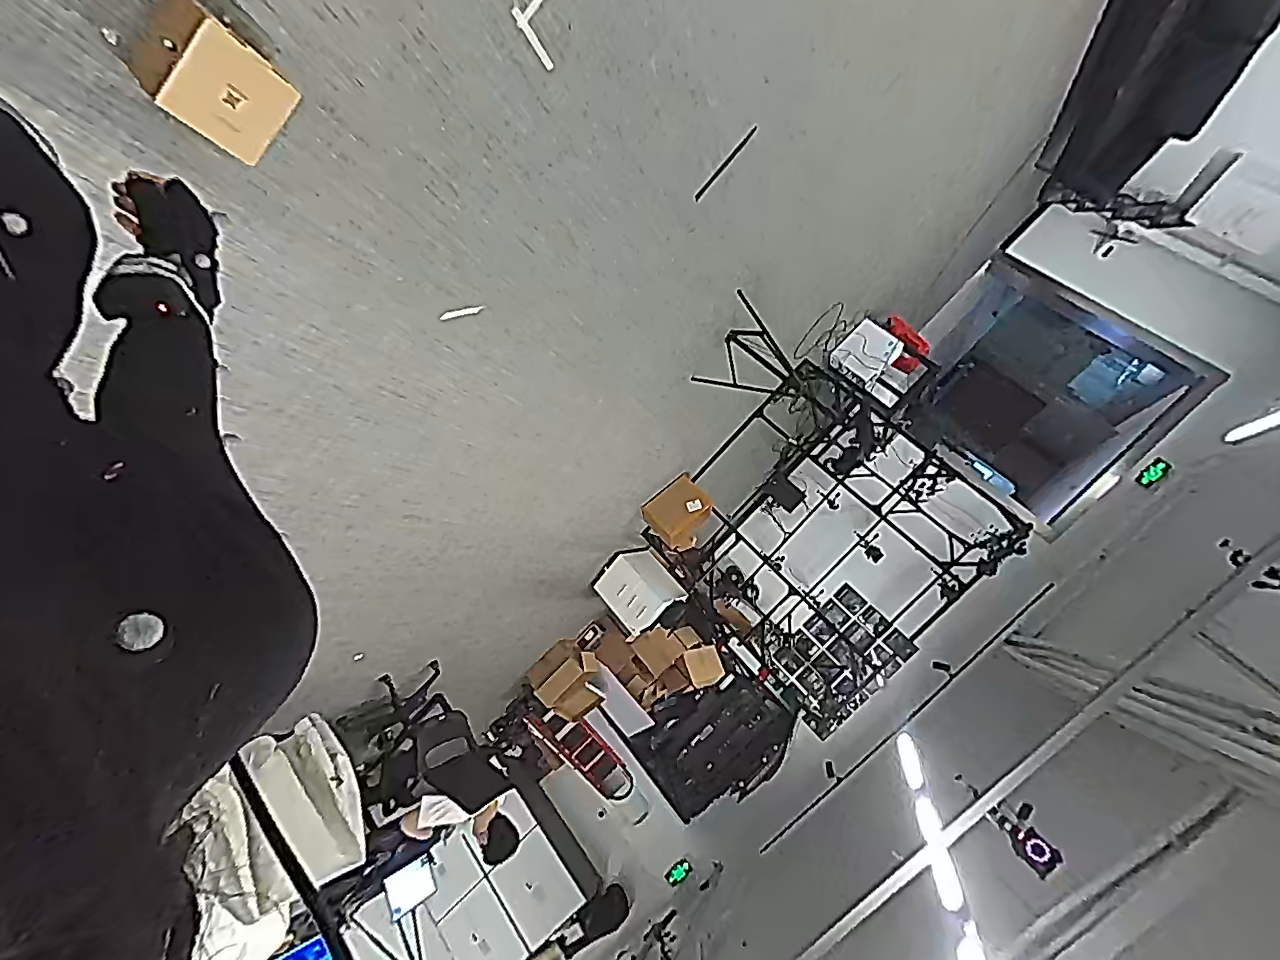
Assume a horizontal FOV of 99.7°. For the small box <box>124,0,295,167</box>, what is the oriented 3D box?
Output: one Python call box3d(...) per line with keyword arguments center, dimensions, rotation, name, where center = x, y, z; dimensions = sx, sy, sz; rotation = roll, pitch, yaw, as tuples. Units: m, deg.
box3d(center=(-0.790, -0.733, 0.990), dimensions=(0.179, 0.176, 0.168), rotation=(-47, 157, 8), name="small box")
